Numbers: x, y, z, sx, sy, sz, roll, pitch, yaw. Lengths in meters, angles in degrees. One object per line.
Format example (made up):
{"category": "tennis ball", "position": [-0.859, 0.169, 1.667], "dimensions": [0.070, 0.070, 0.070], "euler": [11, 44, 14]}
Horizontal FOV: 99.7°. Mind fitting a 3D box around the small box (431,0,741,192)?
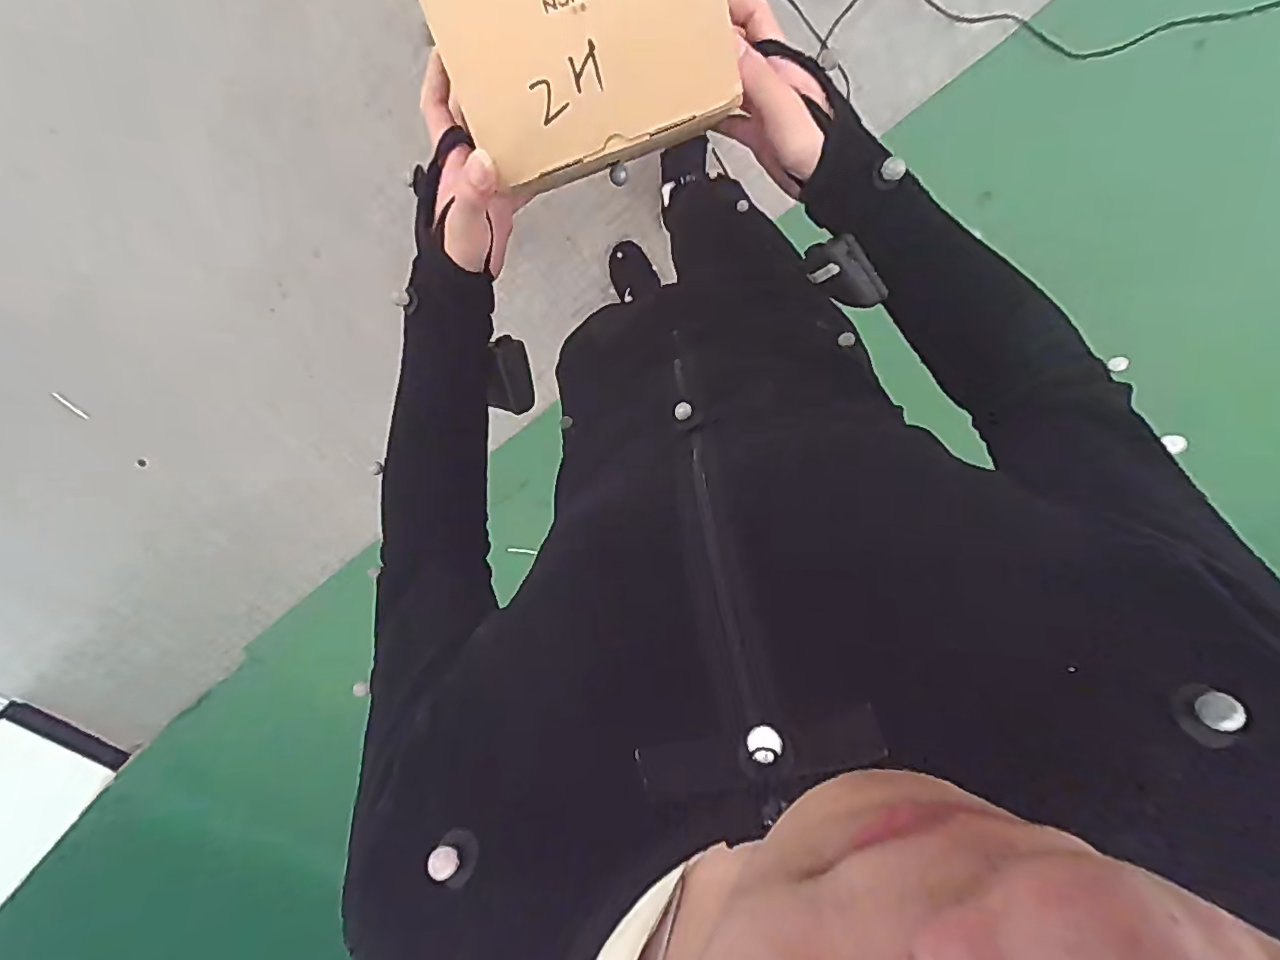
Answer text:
{"category": "small box", "position": [-0.041, -0.319, 0.376], "dimensions": [0.168, 0.176, 0.179], "euler": [-15, 117, 6]}
